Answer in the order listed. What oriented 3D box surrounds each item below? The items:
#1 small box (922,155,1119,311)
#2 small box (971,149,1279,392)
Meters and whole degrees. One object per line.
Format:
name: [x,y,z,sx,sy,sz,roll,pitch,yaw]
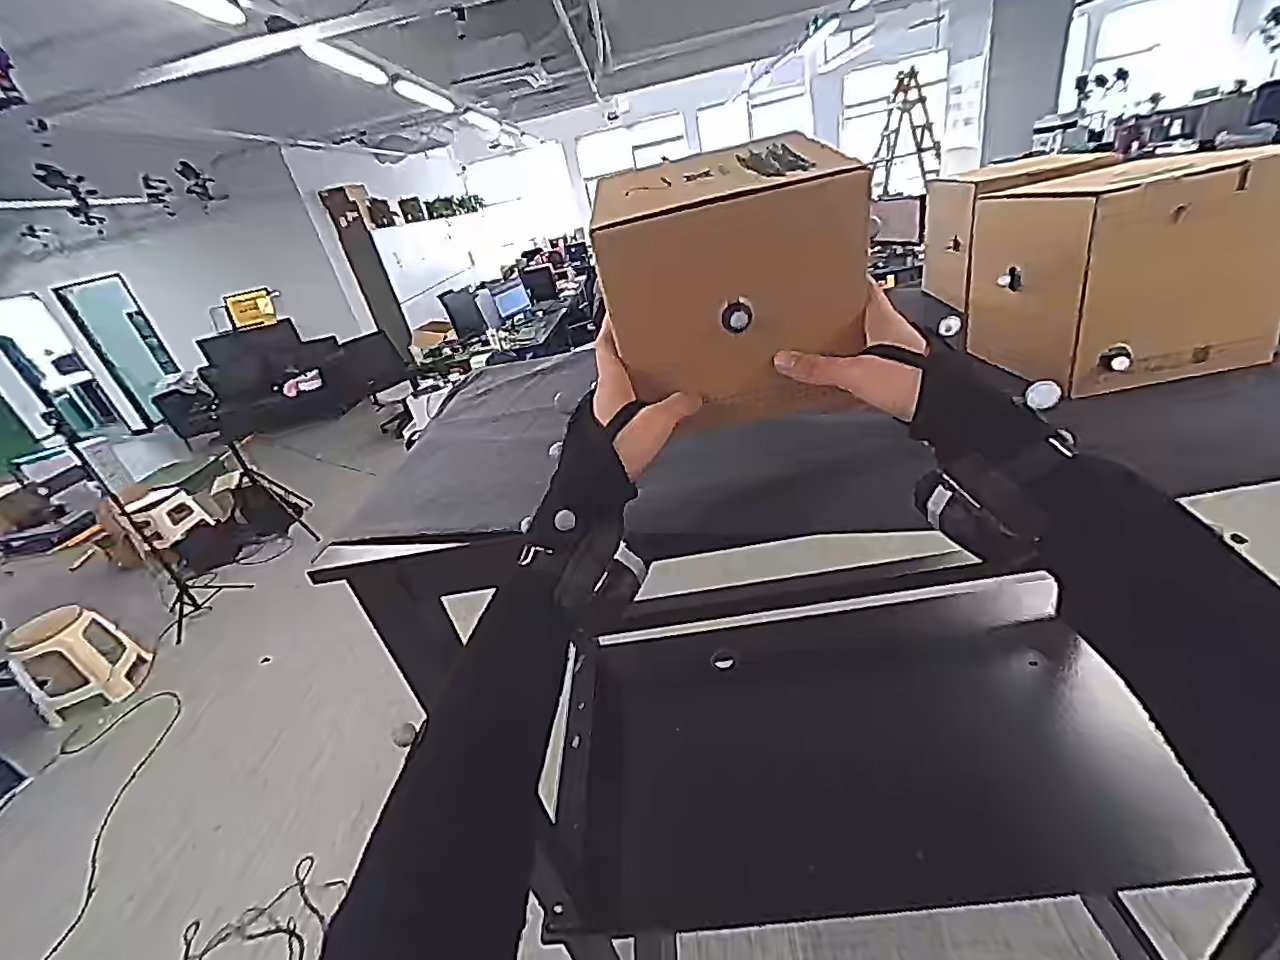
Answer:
small box: [0.518,-0.346,0.768,0.168,0.176,0.179,-7,28,10]
small box: [0.440,-0.190,0.507,0.168,0.176,0.179,-10,26,6]
